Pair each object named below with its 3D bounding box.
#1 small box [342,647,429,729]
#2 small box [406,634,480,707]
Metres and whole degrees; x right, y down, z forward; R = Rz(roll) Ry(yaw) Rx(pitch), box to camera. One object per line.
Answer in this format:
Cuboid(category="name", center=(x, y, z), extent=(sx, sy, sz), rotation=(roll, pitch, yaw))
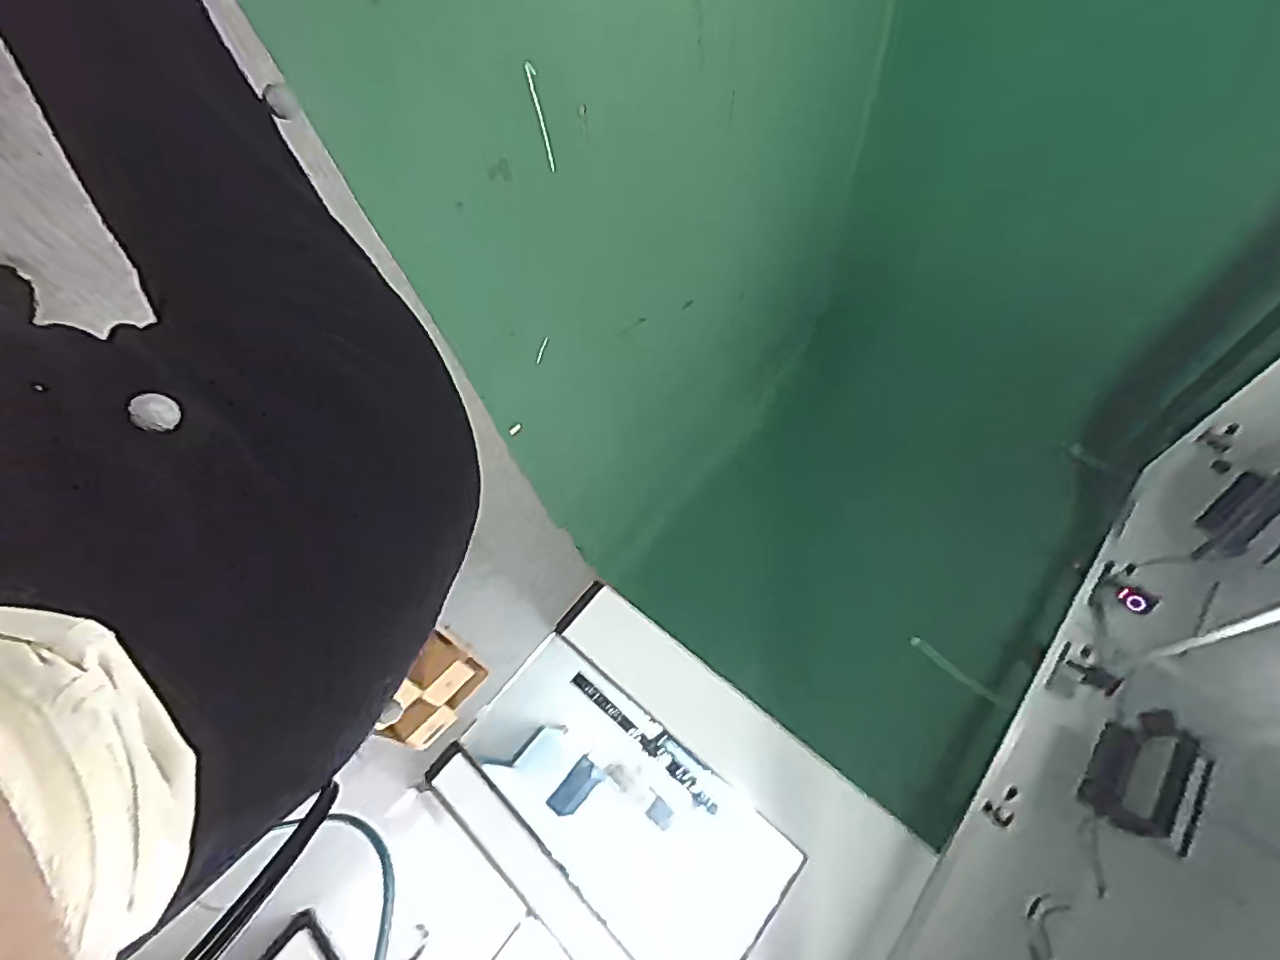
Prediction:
Cuboid(category="small box", center=(-0.842, 0.685, 1.790), extent=(0.168, 0.176, 0.179), rotation=(-43, 151, -24))
Cuboid(category="small box", center=(-0.729, 0.697, 1.995), extent=(0.168, 0.176, 0.179), rotation=(-43, 151, -21))
